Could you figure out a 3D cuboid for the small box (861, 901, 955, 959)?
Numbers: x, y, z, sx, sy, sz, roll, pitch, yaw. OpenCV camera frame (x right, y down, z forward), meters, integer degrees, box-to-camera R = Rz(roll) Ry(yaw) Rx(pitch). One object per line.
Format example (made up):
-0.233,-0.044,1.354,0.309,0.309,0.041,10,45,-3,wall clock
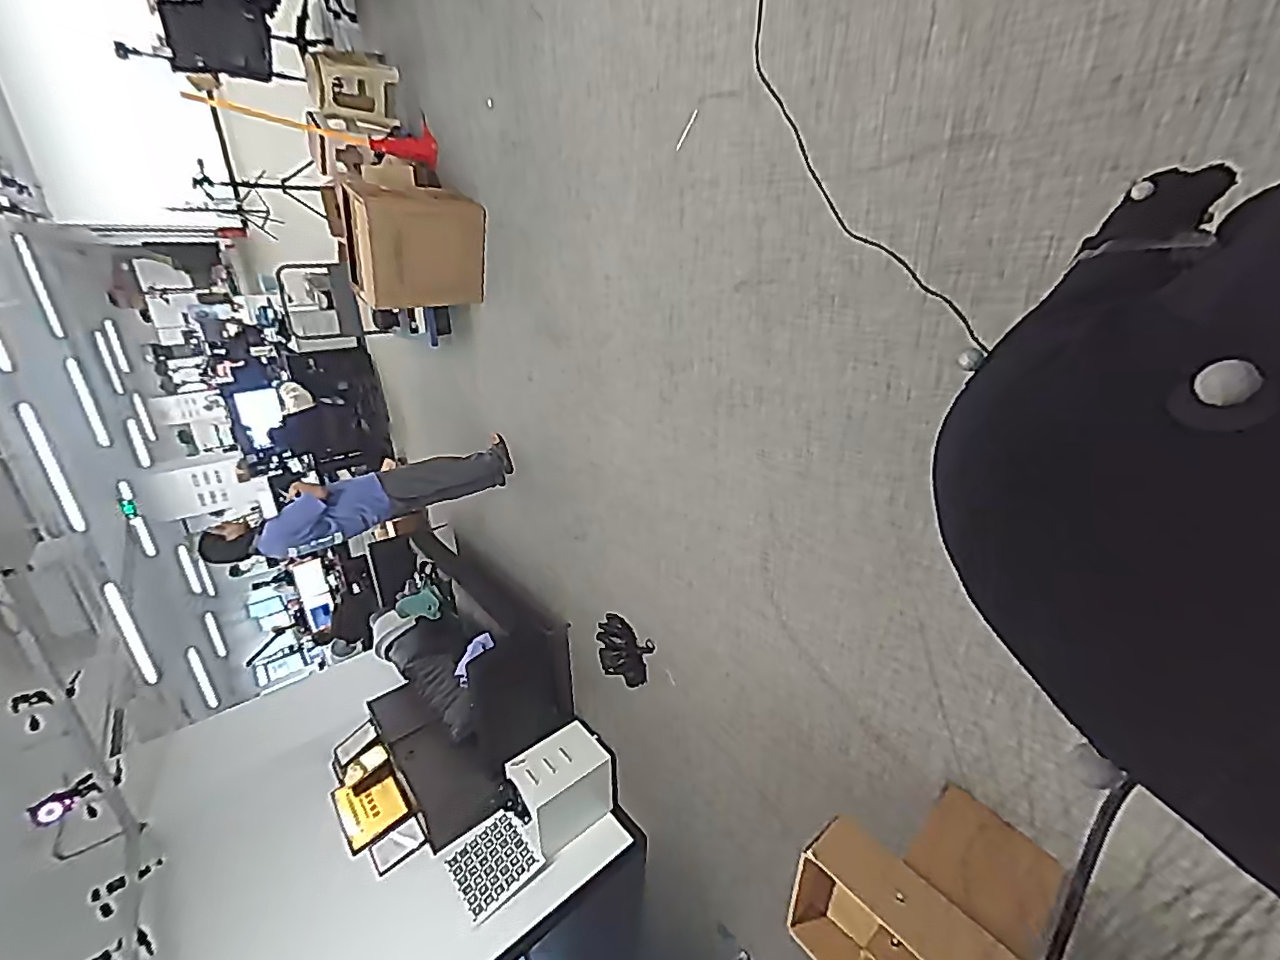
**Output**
0.685,1.253,1.396,0.168,0.176,0.179,24,126,46,small box
